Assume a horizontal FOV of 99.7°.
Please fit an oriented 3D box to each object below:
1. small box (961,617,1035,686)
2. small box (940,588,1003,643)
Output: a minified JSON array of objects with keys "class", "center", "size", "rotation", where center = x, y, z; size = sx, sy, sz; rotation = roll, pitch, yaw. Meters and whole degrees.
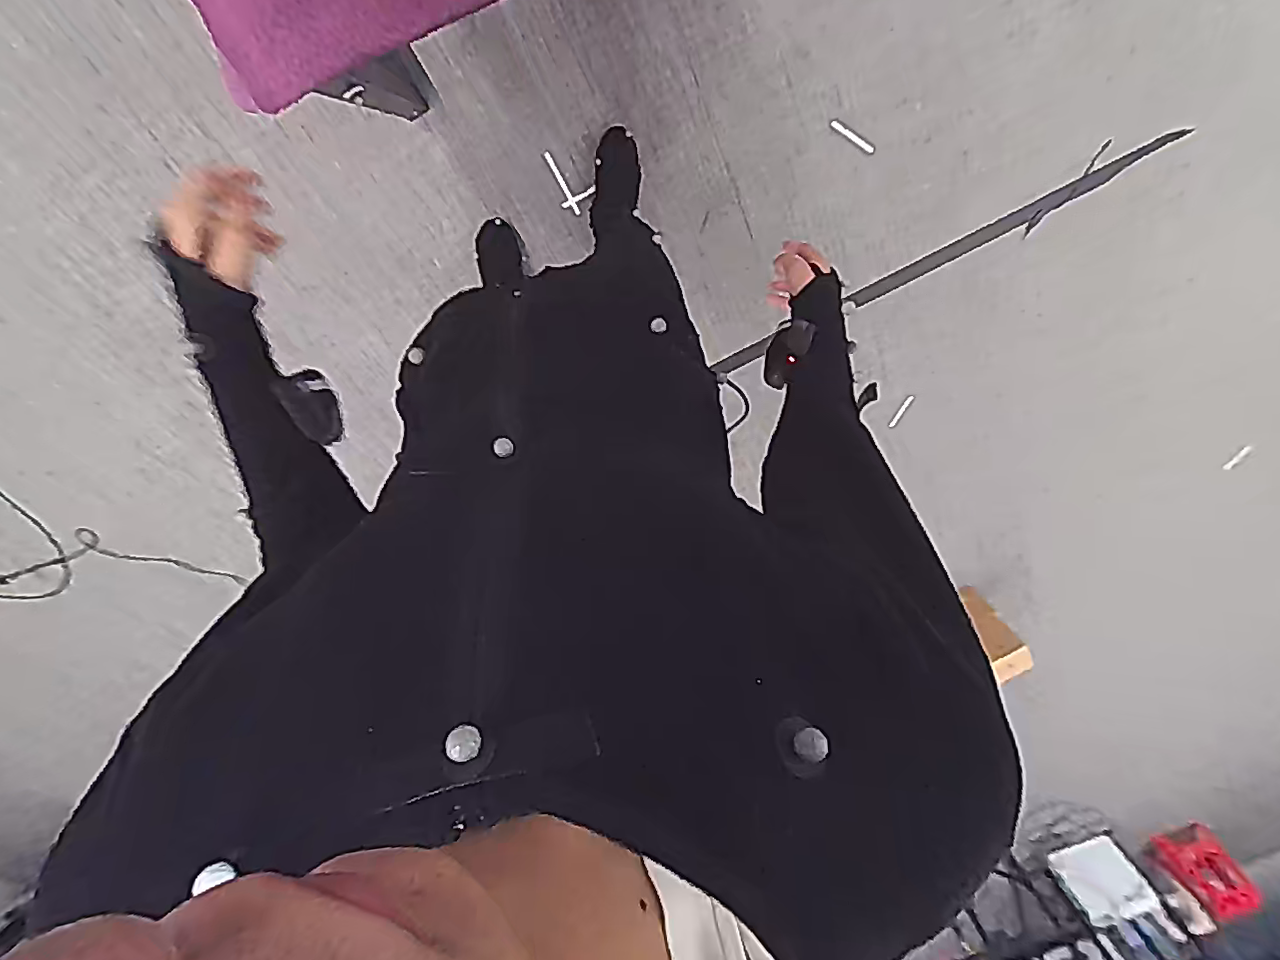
[{"class":"small box","center":[1.445,0.690,2.186],"size":[0.179,0.176,0.168],"rotation":[-32,121,8]},{"class":"small box","center":[1.429,0.598,2.322],"size":[0.168,0.176,0.179],"rotation":[-31,120,8]}]
